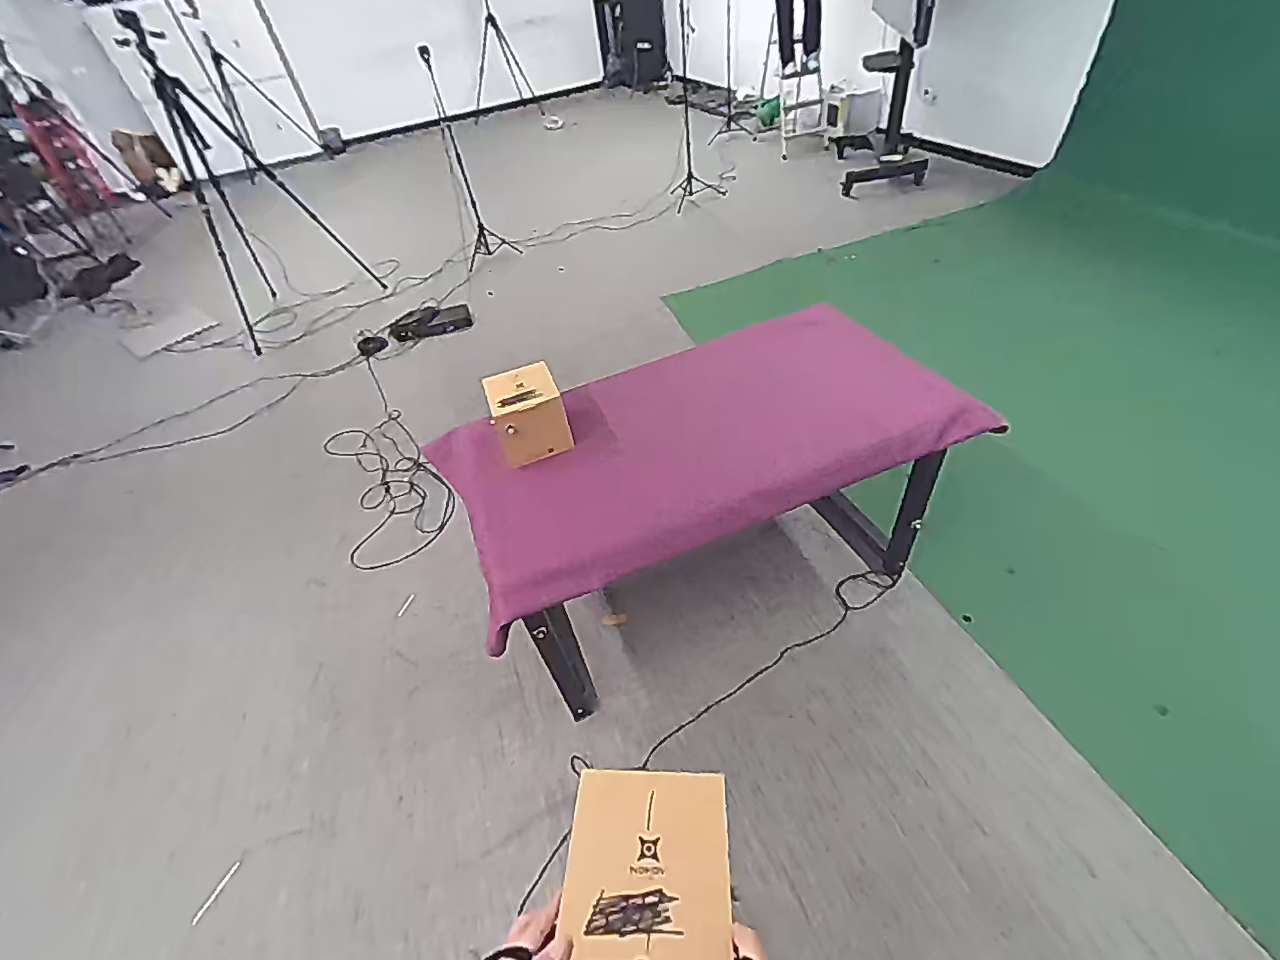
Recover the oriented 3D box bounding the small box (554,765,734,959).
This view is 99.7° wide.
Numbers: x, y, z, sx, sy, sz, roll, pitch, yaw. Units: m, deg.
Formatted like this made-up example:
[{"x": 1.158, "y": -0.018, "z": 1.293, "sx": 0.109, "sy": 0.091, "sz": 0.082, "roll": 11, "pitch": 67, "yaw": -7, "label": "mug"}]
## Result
[{"x": 0.016, "y": 0.441, "z": 0.590, "sx": 0.168, "sy": 0.176, "sz": 0.179, "roll": -1, "pitch": 35, "yaw": 5, "label": "small box"}]
